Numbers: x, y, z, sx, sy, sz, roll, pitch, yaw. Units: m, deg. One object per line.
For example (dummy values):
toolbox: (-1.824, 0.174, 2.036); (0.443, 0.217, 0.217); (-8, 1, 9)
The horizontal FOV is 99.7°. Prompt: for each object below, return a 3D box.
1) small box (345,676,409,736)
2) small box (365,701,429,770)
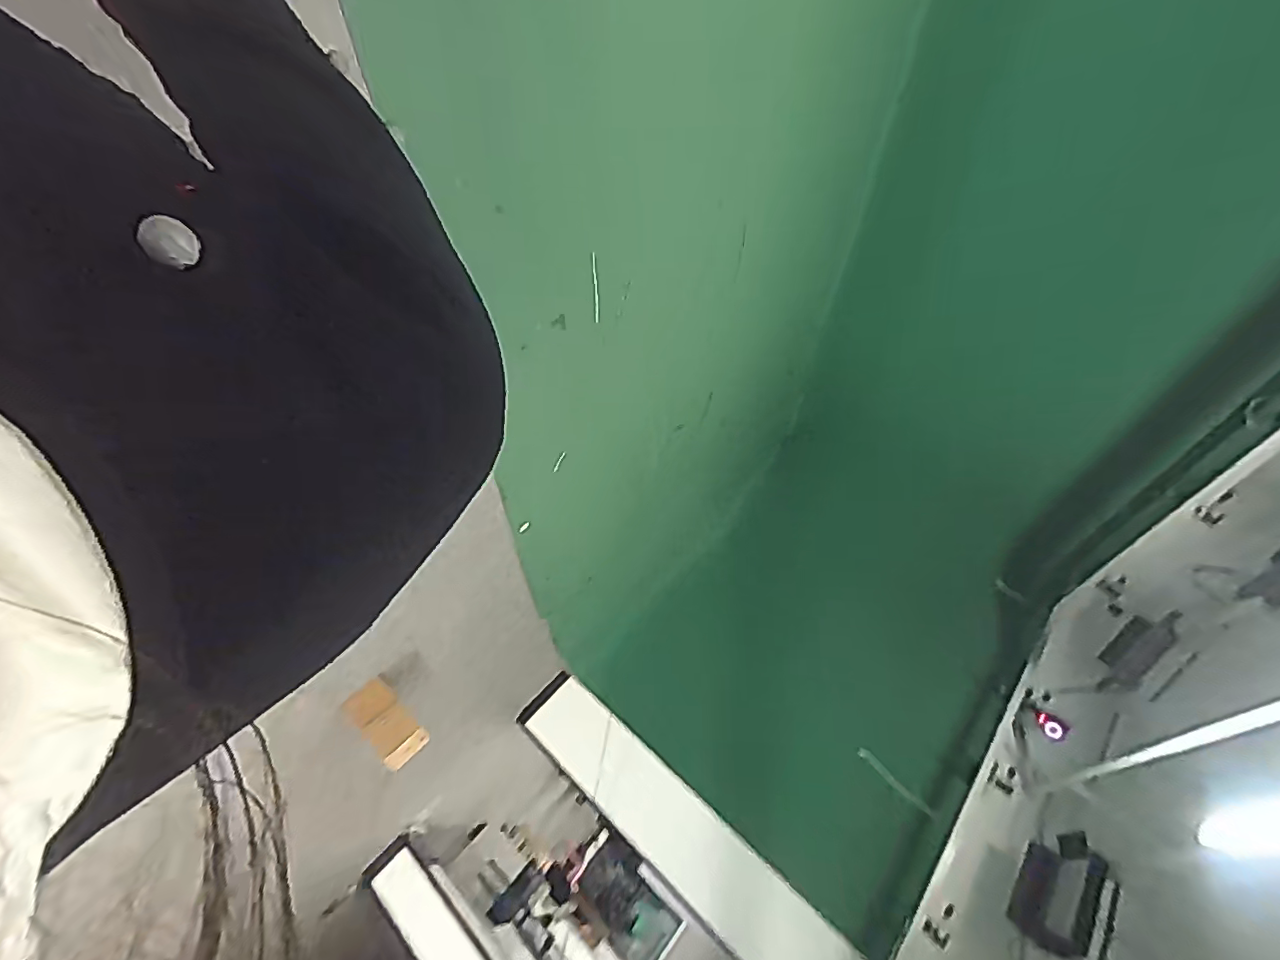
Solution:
small box: (-1.155, 1.000, 2.363); (0.179, 0.176, 0.168); (-43, 153, -28)
small box: (-1.033, 1.081, 2.289); (0.179, 0.176, 0.168); (-38, 150, -31)
